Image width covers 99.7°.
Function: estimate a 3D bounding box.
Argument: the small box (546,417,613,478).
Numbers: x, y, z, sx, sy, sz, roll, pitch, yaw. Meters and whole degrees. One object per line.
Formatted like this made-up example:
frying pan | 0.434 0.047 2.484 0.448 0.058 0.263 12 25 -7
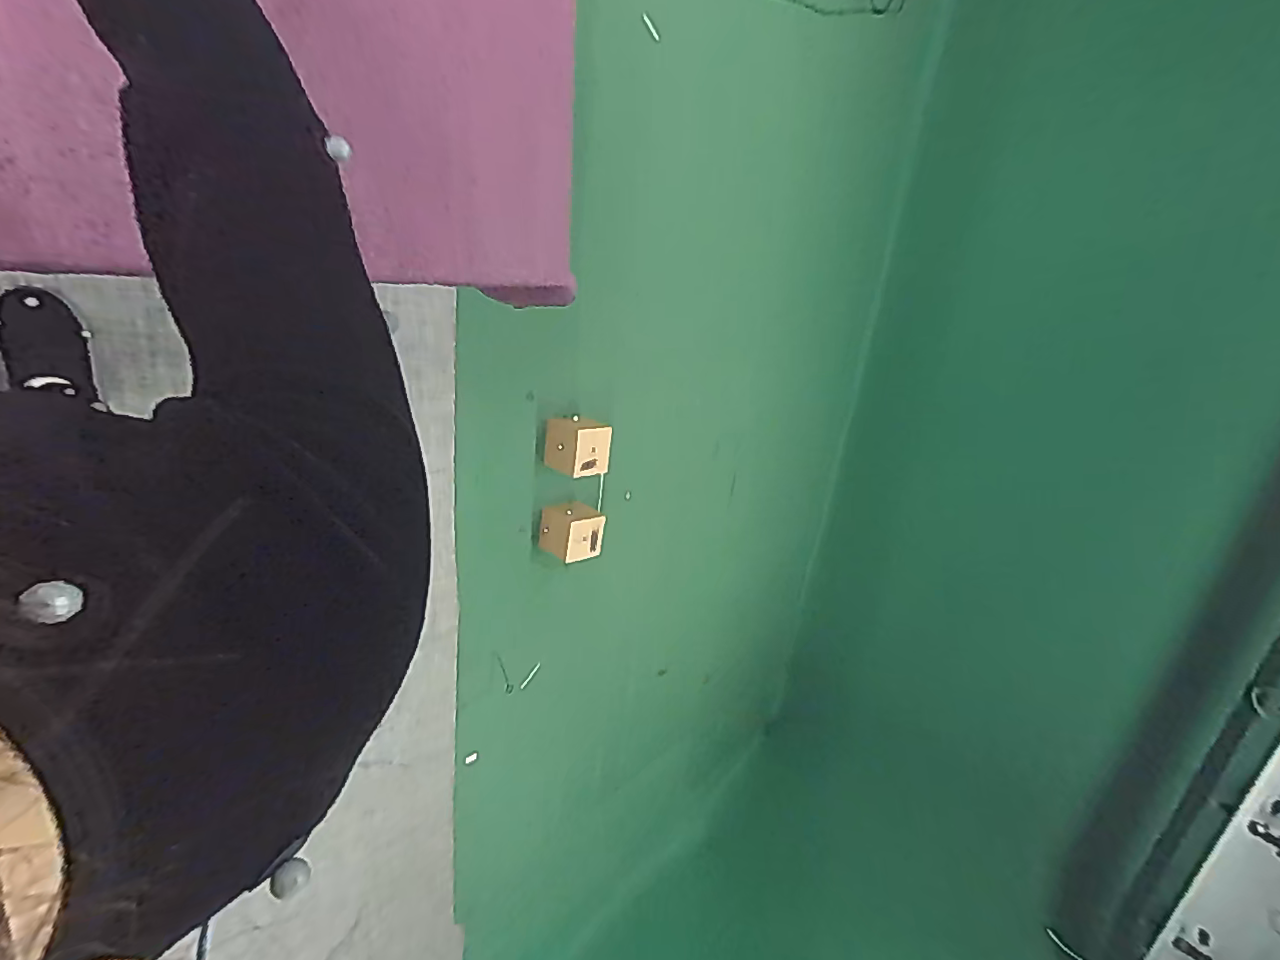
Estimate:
small box | -0.221 -0.122 1.951 0.168 0.176 0.179 -11 114 -47
